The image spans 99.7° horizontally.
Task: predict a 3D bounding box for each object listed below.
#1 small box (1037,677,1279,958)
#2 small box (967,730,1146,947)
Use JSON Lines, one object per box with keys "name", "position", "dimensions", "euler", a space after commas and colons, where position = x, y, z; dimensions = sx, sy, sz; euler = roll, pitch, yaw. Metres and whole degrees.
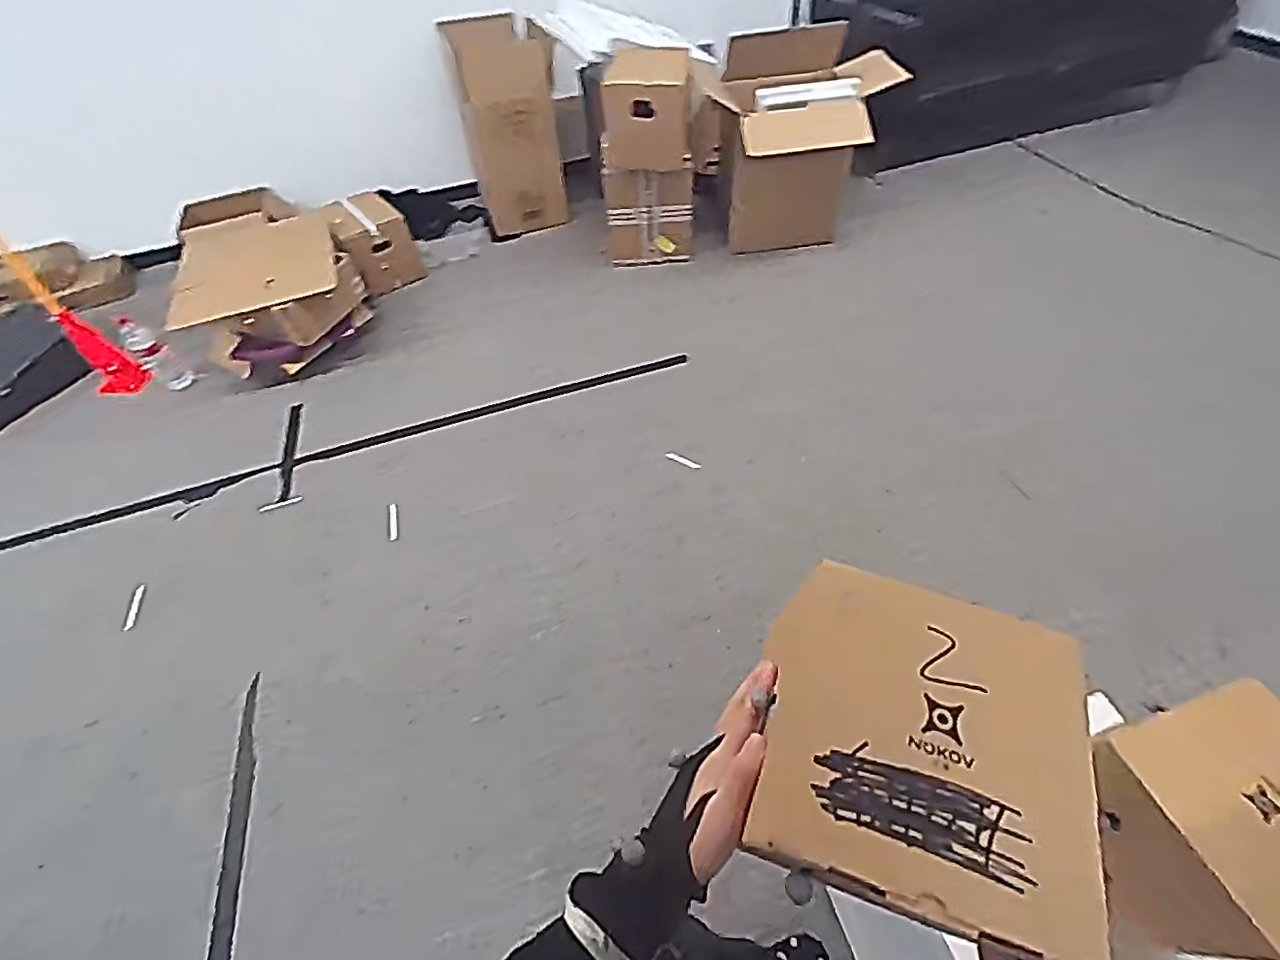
{"name": "small box", "position": [0.529, 0.318, 0.515], "dimensions": [0.179, 0.176, 0.168], "euler": [-16, 53, -9]}
{"name": "small box", "position": [0.541, 0.416, 0.645], "dimensions": [0.179, 0.176, 0.168], "euler": [-17, 53, -8]}
